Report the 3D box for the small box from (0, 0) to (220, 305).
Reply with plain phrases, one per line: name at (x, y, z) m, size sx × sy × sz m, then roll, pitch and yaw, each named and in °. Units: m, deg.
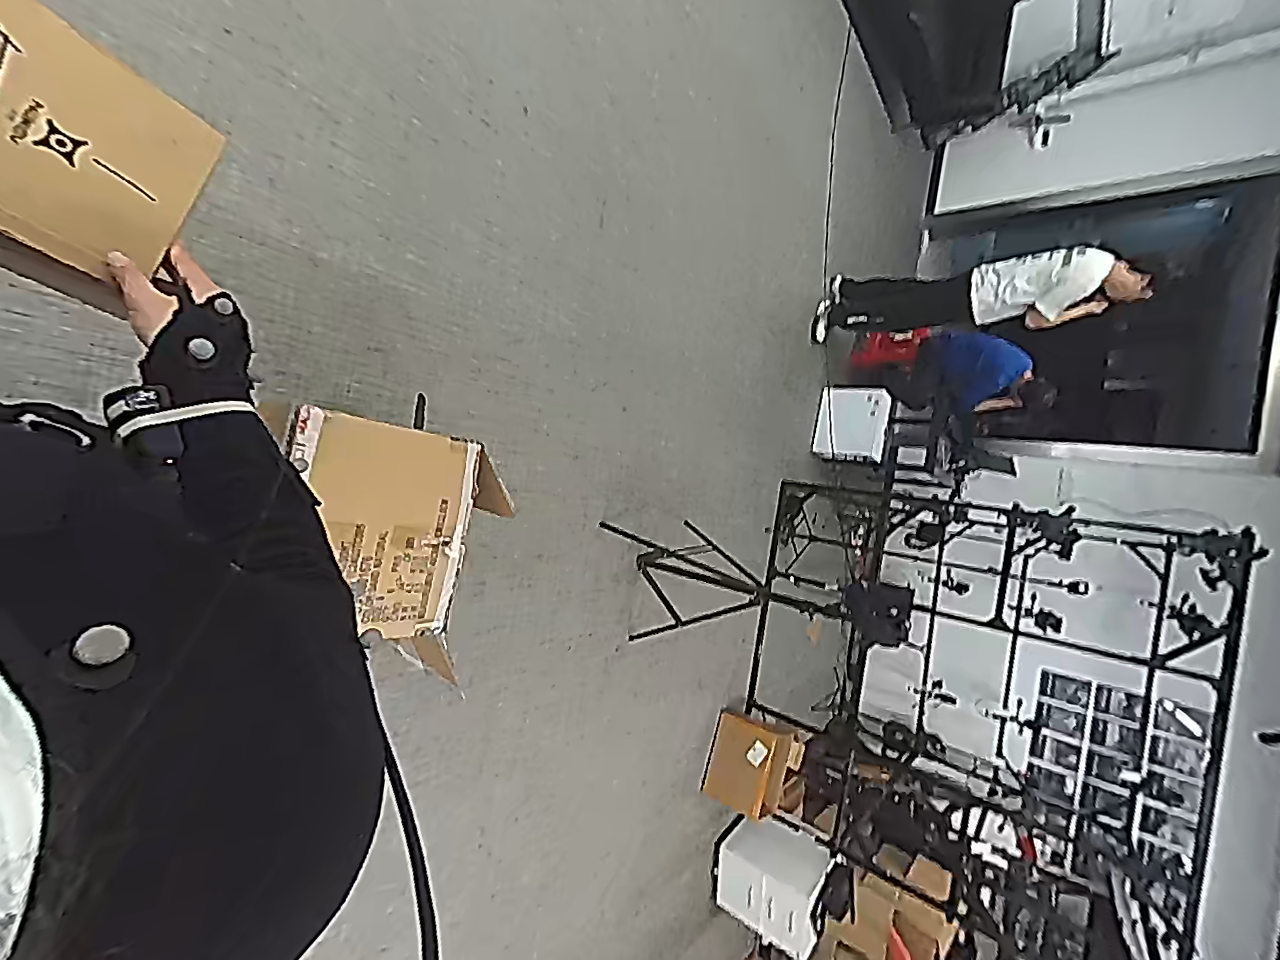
small box at (-0.501, -0.266, 0.451) m, size 0.179 × 0.176 × 0.168 m, roll 29°, pitch 74°, yaw -45°
